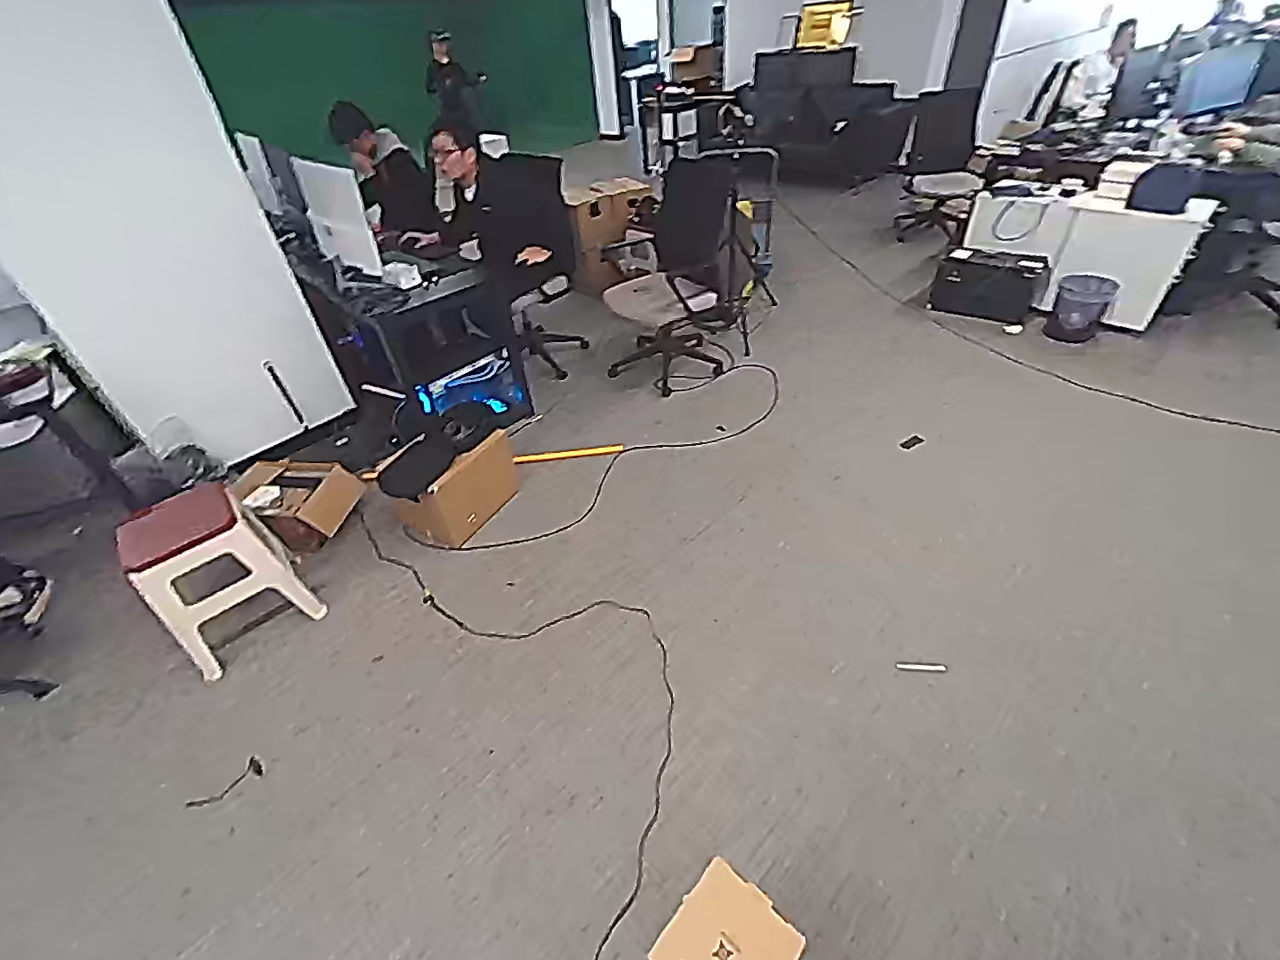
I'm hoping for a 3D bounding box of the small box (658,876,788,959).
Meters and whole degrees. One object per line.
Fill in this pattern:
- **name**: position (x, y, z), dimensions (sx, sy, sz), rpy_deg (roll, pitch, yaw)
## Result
- **small box**: position (0.141, 0.863, 0.955), dimensions (0.168, 0.176, 0.179), rpy_deg (27, 48, 31)
